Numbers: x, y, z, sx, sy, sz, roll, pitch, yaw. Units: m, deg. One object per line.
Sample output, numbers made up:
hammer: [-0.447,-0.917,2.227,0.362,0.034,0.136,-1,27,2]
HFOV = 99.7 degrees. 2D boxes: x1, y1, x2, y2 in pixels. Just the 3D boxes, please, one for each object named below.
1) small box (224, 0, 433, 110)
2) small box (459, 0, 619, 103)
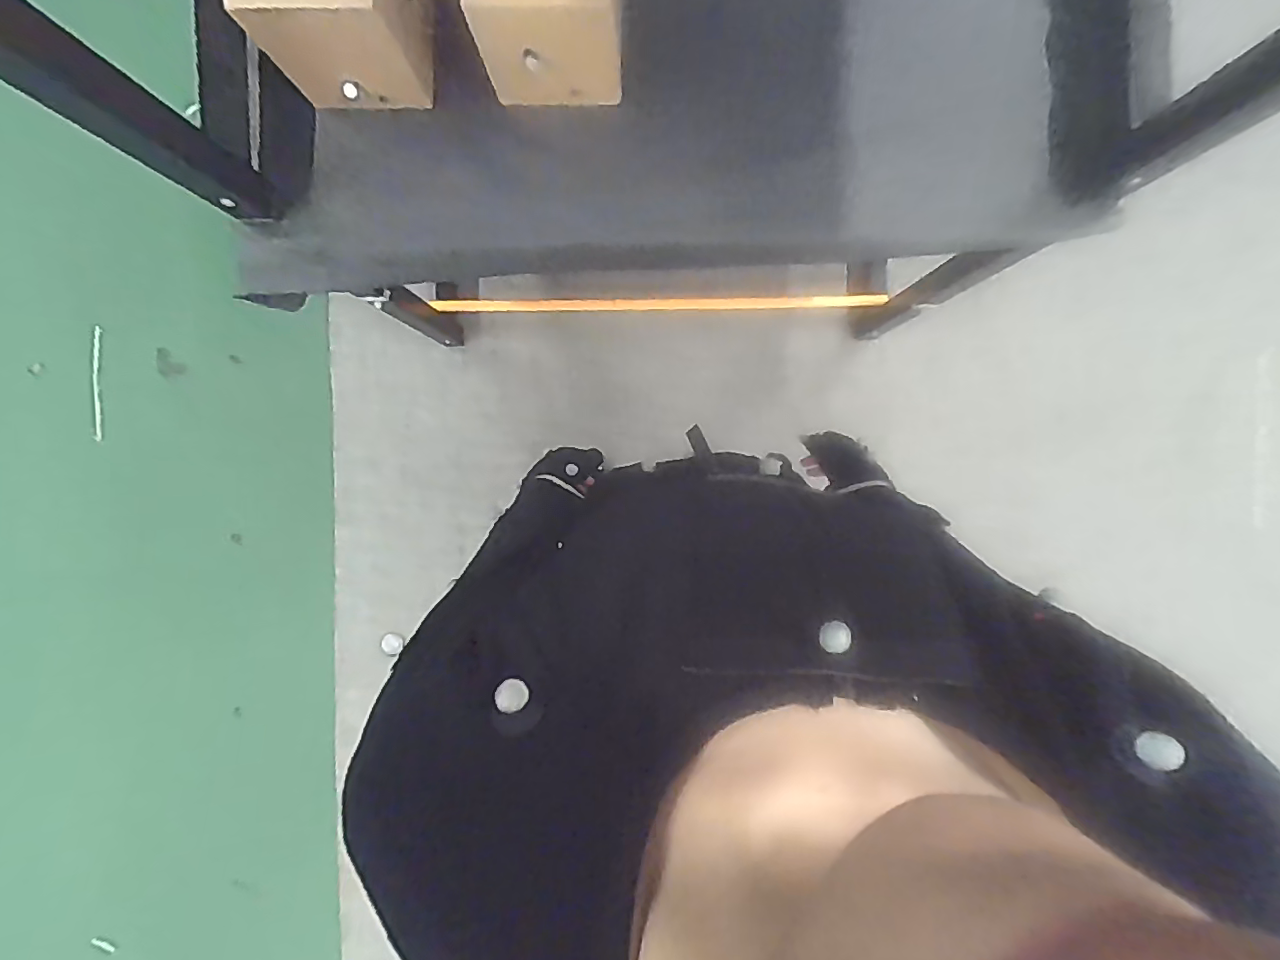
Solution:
small box: [-0.365,-0.595,0.659,0.168,0.176,0.179,0,92,1]
small box: [-0.112,-0.596,0.658,0.168,0.176,0.179,0,92,1]
